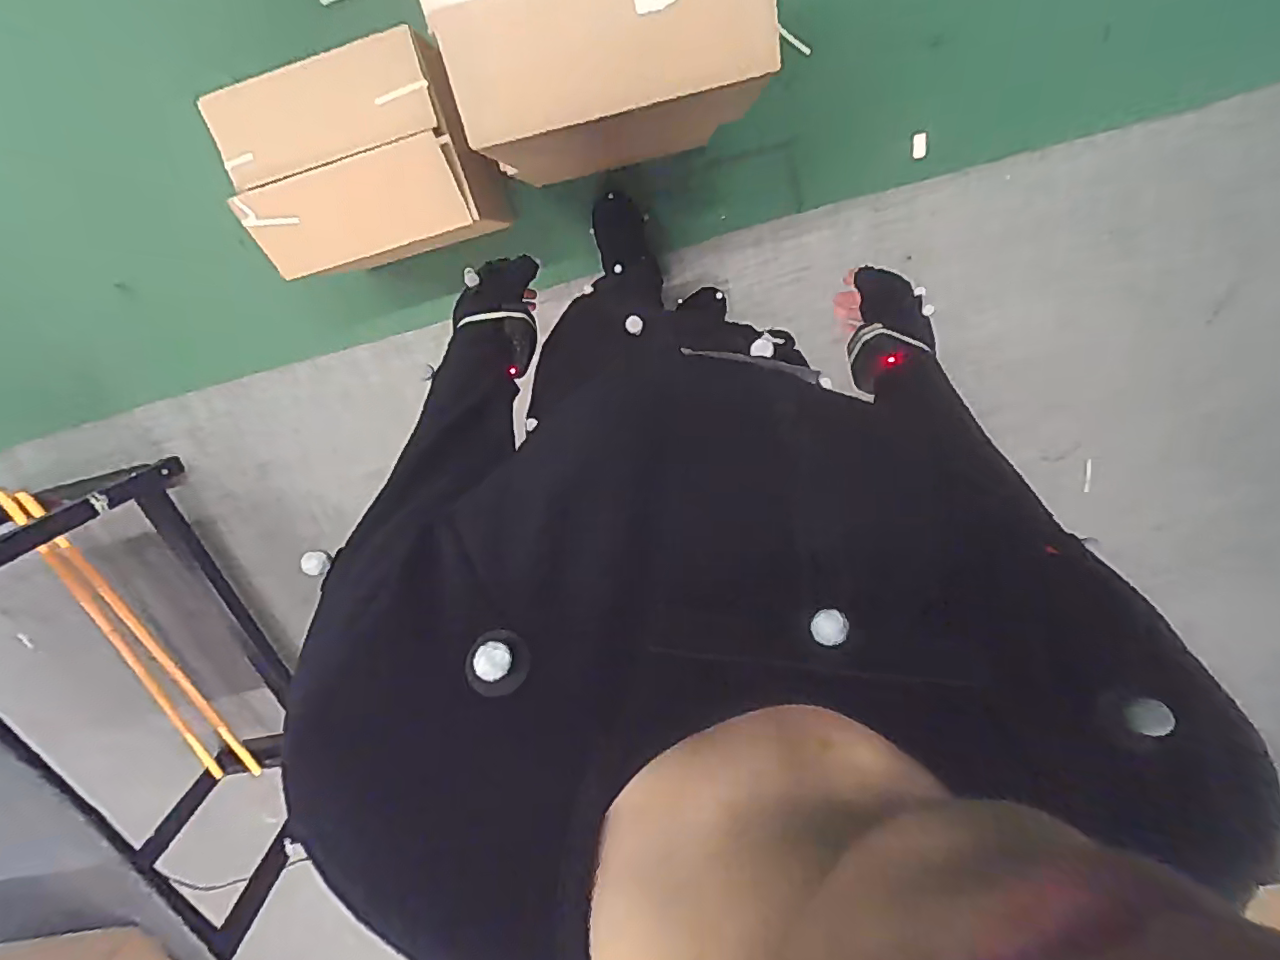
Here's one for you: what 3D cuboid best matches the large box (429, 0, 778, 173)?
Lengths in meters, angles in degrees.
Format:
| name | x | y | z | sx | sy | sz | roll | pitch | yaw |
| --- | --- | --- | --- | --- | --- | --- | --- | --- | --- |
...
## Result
| name | x | y | z | sx | sy | sz | roll | pitch | yaw |
| --- | --- | --- | --- | --- | --- | --- | --- | --- | --- |
| large box | -0.059 | -0.662 | 0.754 | 0.408 | 0.320 | 0.320 | -12 | 115 | 4 |
